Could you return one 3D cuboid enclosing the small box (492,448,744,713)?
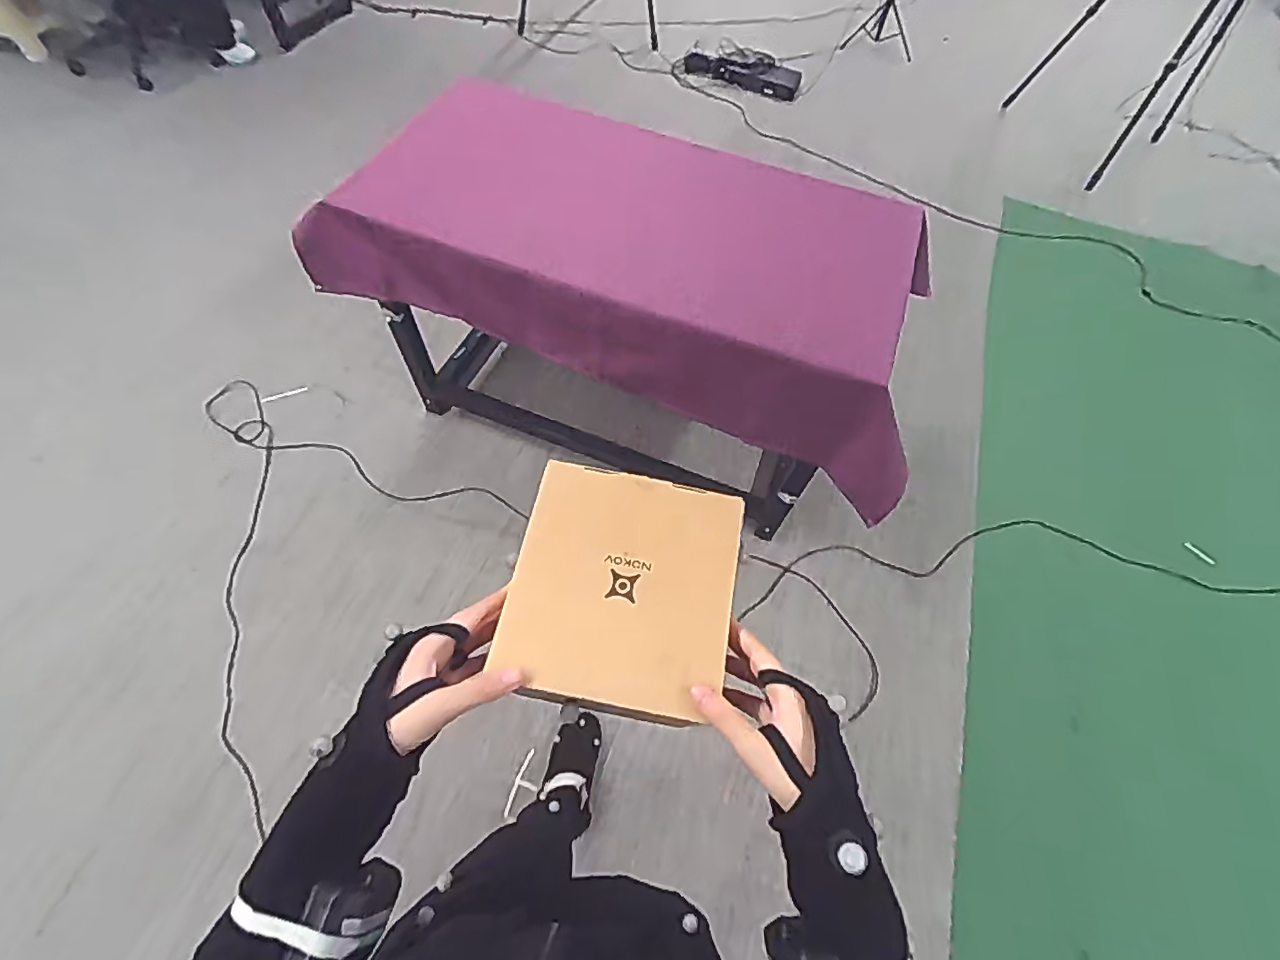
[{"bbox_3d":[-0.014,0.100,0.483,0.168,0.176,0.179,11,63,1],"label":"small box"}]
